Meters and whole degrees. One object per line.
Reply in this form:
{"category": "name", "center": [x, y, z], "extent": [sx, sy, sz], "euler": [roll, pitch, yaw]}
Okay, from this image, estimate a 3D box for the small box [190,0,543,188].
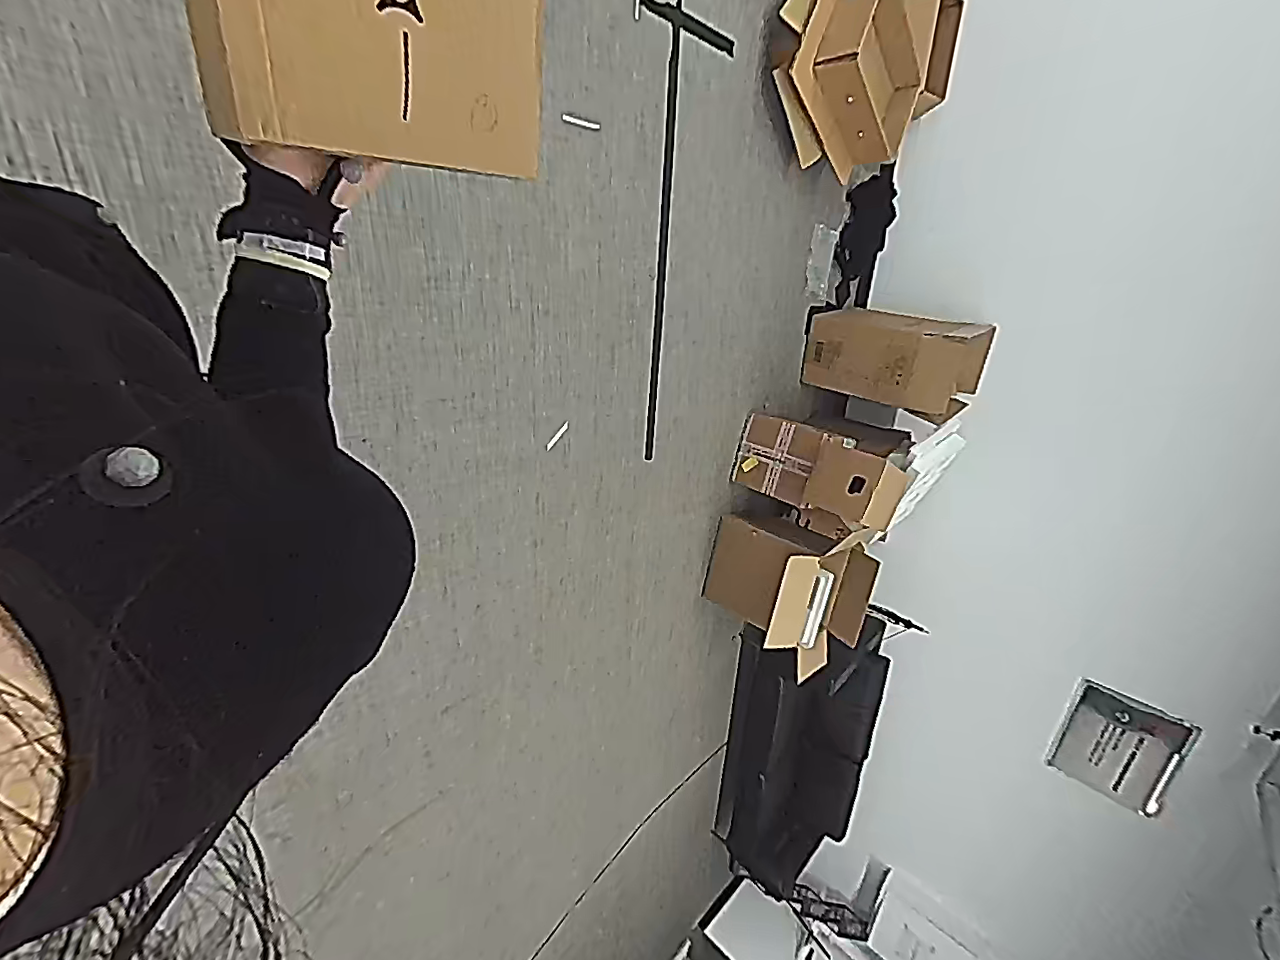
{"category": "small box", "center": [-0.175, -0.296, 0.337], "extent": [0.168, 0.176, 0.179], "euler": [-14, 125, -37]}
